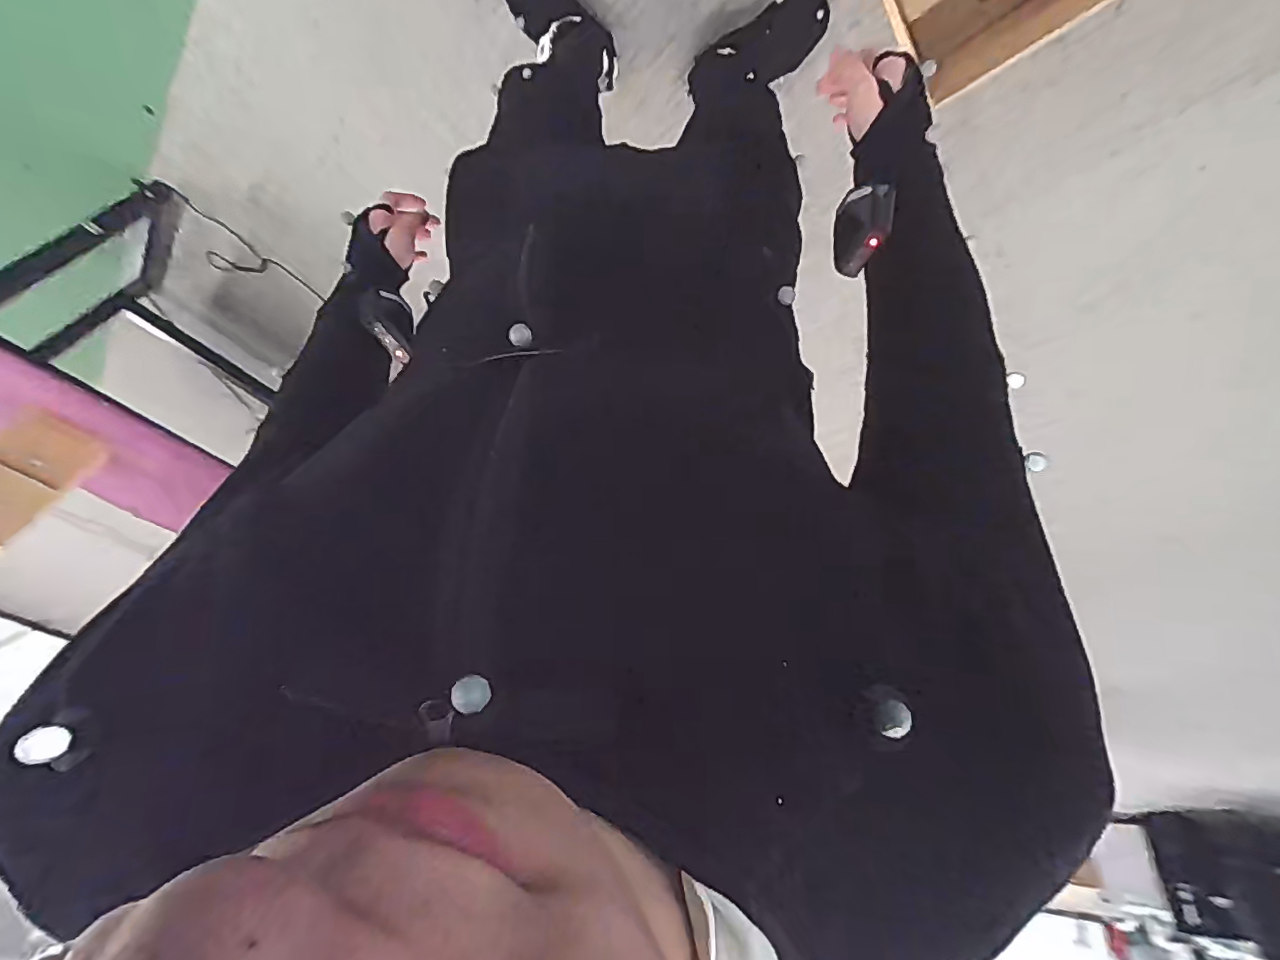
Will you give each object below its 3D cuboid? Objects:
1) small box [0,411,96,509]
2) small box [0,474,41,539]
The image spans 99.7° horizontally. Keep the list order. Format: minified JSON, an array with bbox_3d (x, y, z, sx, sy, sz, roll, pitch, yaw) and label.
[{"bbox_3d":[-1.586,-0.057,1.396,0.168,0.176,0.179,-19,132,34],"label":"small box"},{"bbox_3d":[-1.607,0.066,1.288,0.168,0.176,0.179,-19,133,34],"label":"small box"}]
